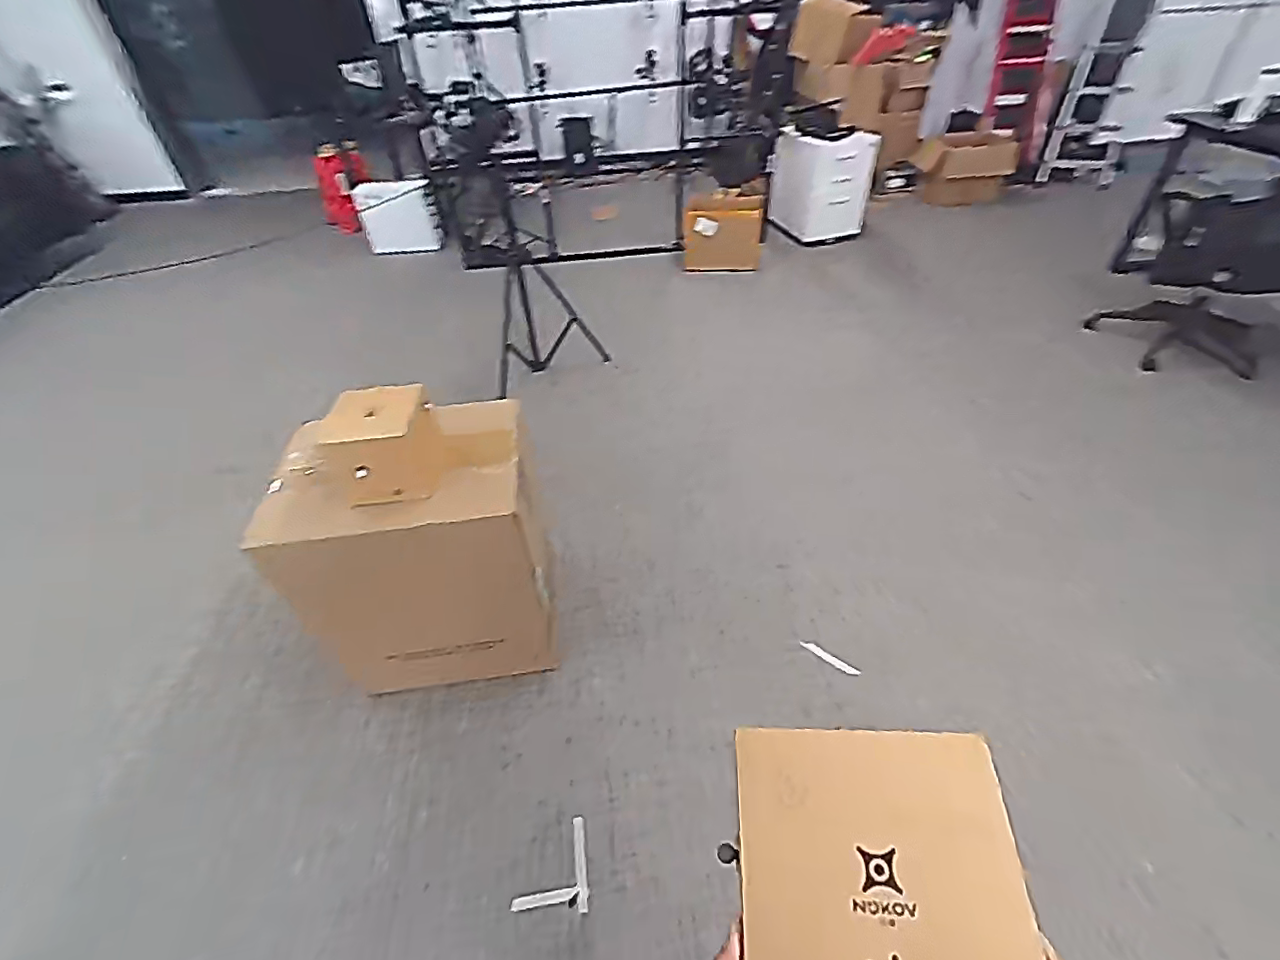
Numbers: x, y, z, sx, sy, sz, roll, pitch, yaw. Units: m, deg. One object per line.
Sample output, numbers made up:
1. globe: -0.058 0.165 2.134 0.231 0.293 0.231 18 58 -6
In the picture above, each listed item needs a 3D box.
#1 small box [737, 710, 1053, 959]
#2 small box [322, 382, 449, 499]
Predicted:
1. small box: 0.156 0.278 0.388 0.168 0.176 0.179 -3 56 9
2. small box: -0.502 -0.075 1.099 0.168 0.176 0.179 -6 42 -2
